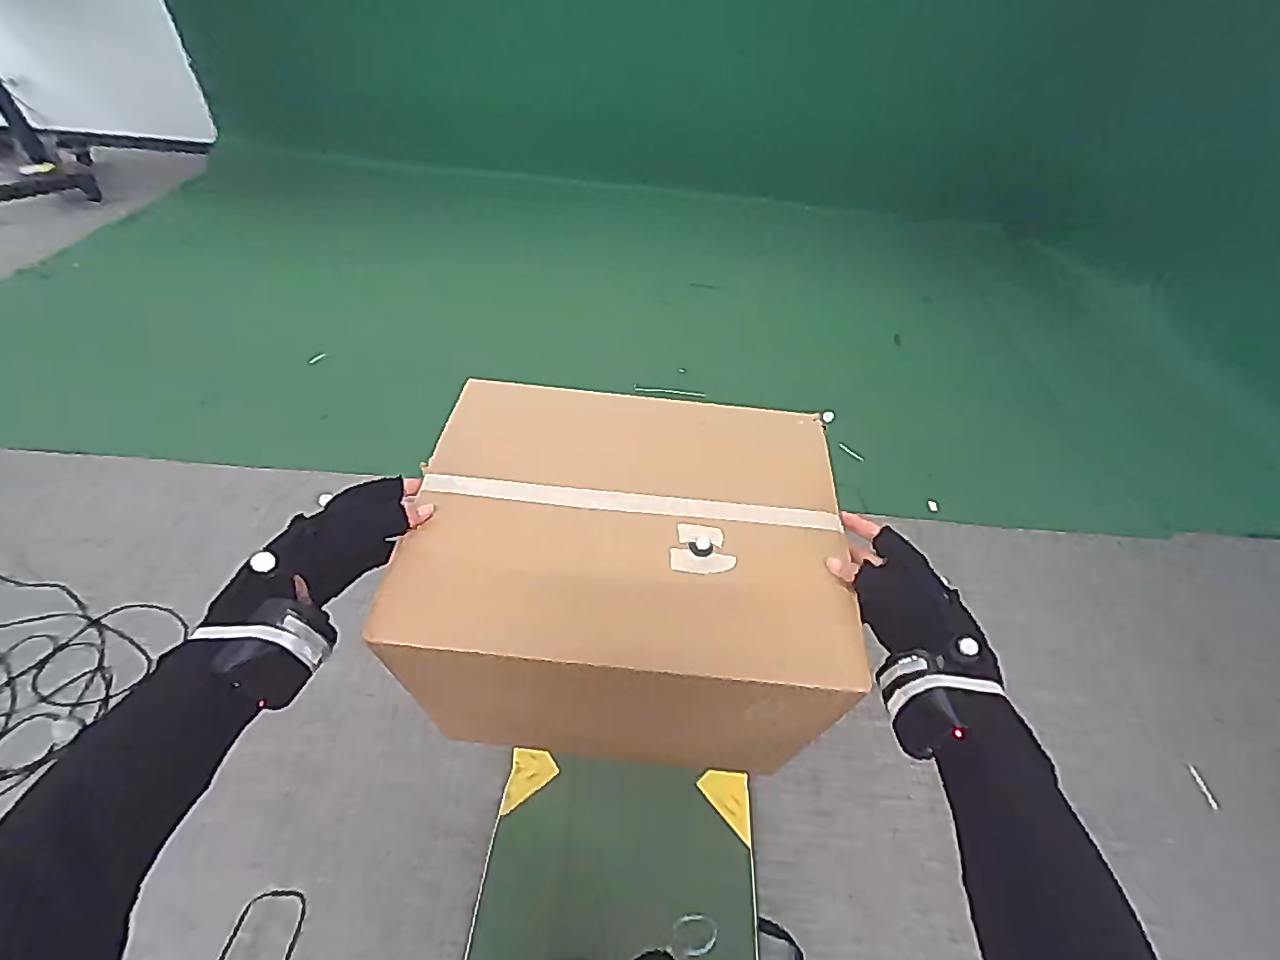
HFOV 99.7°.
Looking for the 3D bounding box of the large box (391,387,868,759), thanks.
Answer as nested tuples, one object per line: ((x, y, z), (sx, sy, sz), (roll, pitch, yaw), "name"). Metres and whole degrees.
((-0.011, 0.120, 0.649), (0.408, 0.320, 0.320), (6, 51, -1), "large box")
